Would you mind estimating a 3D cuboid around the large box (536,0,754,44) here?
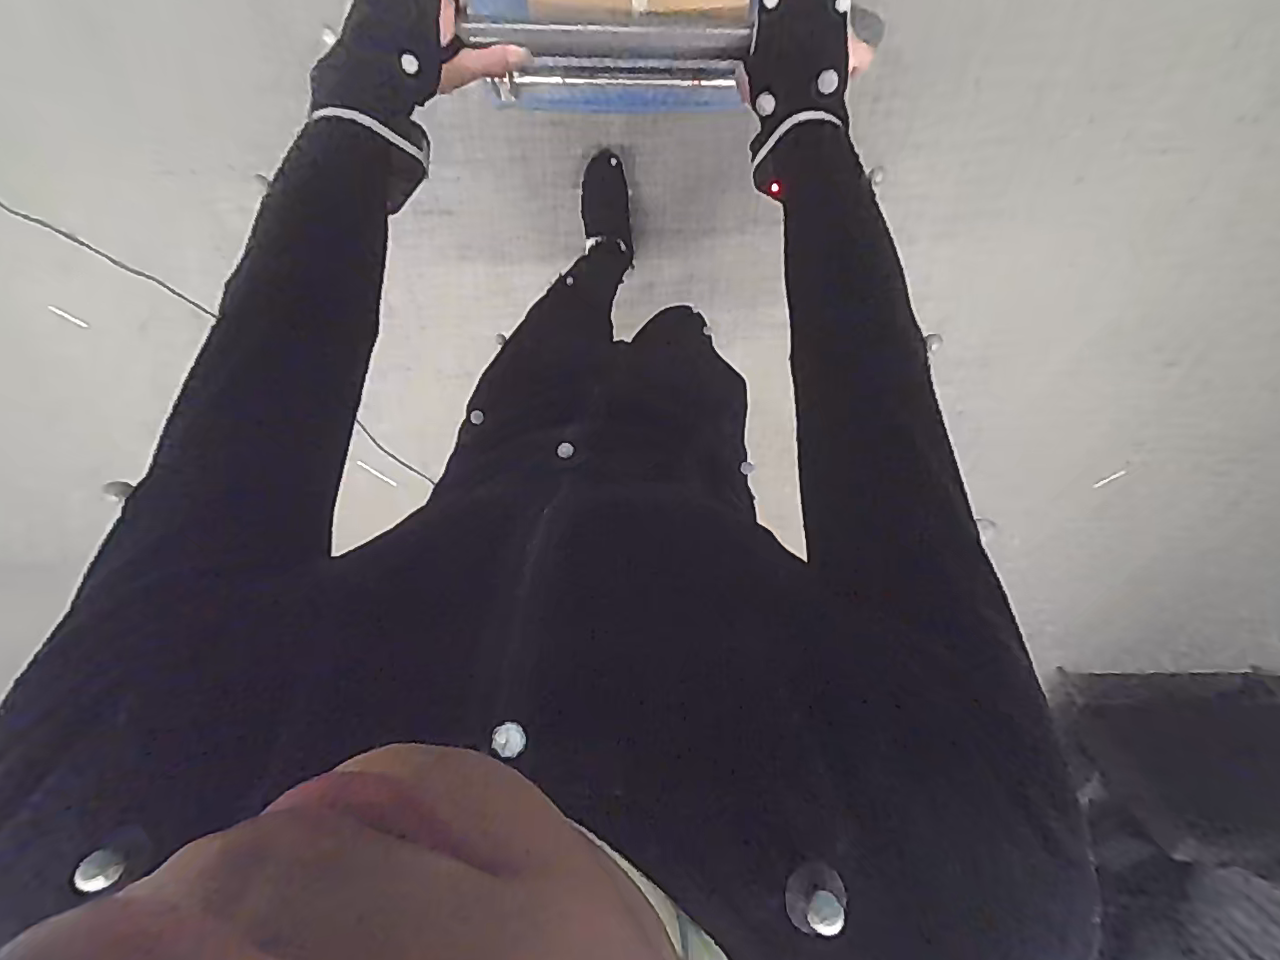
[{"bbox_3d":[0.010,-0.906,0.781,0.320,0.320,0.408,1,123,0],"label":"large box"}]
